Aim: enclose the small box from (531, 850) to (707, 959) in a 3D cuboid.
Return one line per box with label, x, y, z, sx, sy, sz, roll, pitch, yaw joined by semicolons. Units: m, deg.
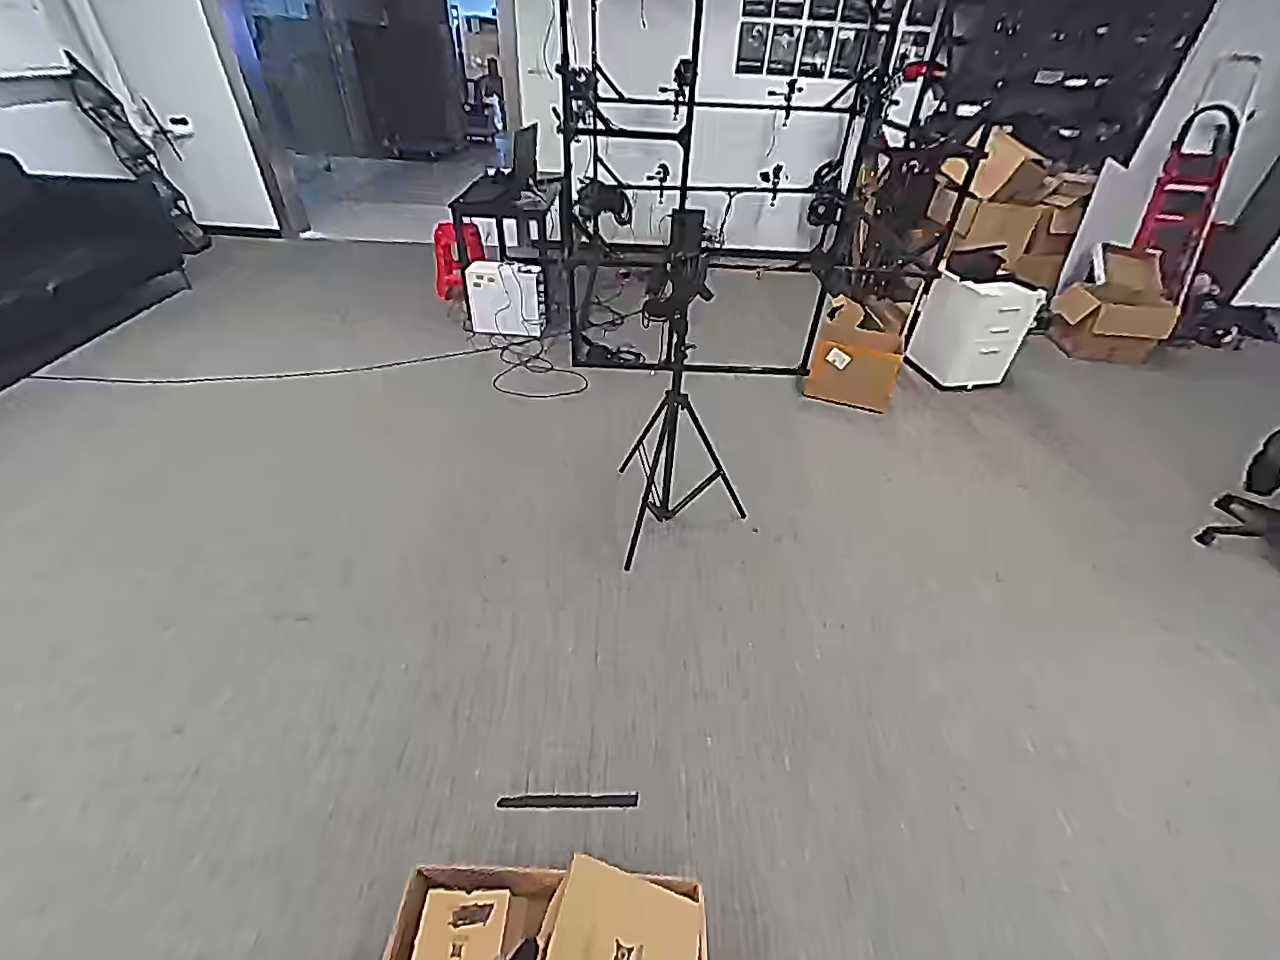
small box;-0.038;0.588;0.632;0.179;0.176;0.168;21;27;1
